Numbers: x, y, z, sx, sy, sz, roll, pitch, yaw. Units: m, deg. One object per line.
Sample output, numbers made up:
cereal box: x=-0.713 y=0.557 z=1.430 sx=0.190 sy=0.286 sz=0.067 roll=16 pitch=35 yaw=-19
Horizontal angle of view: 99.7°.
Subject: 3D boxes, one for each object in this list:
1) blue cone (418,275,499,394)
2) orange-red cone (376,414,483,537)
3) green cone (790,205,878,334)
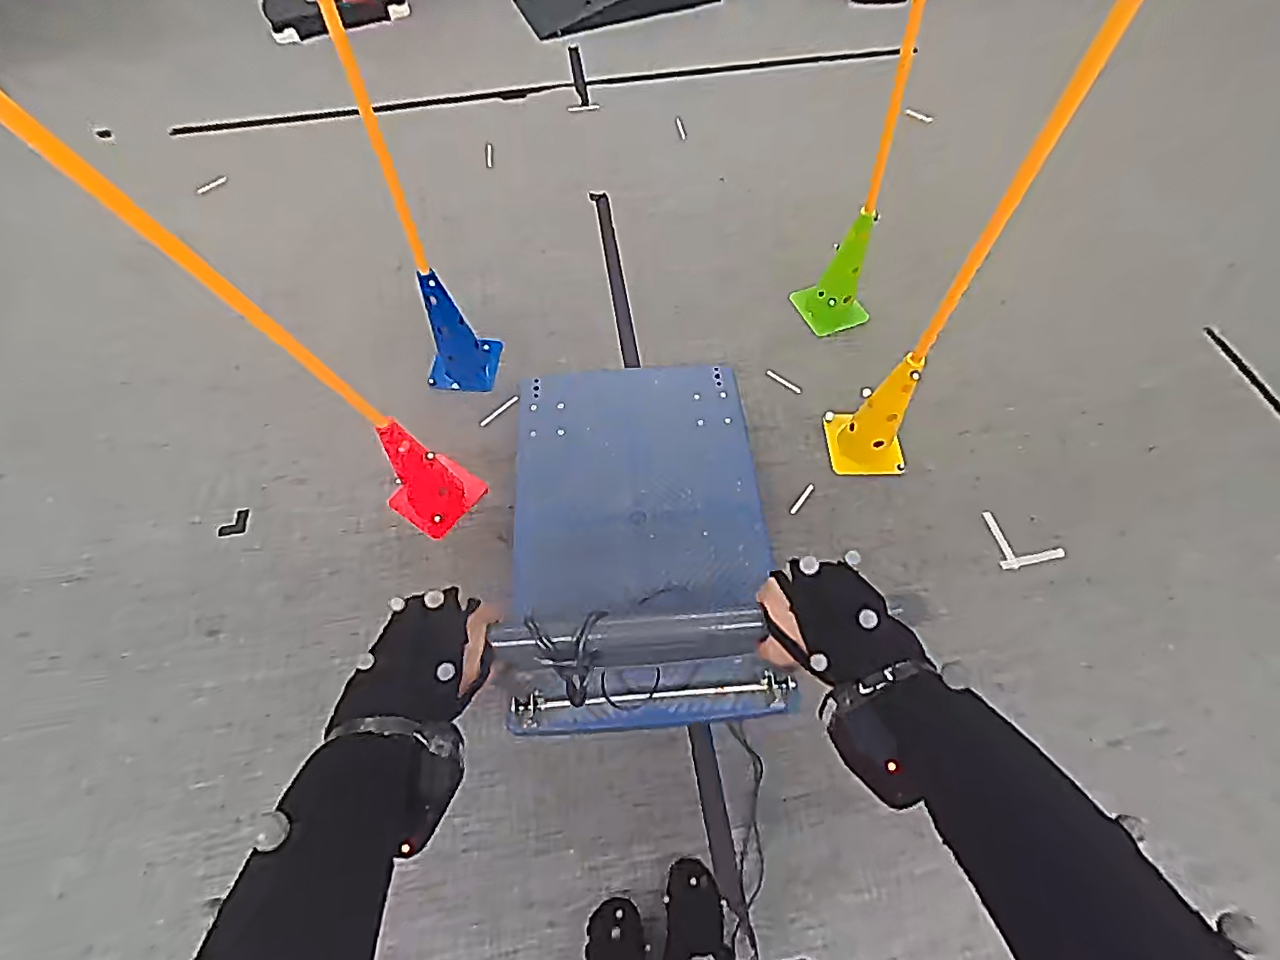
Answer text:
blue cone: x=-0.541 y=-0.427 z=1.530 sx=0.193 sy=0.380 sz=0.192 roll=5 pitch=63 yaw=3
orange-red cone: x=-0.548 y=-0.043 z=1.307 sx=0.198 sy=0.360 sz=0.199 roll=33 pitch=66 yaw=16
green cone: x=0.616 y=-0.649 z=1.614 sx=0.200 sy=0.368 sz=0.202 roll=-21 pitch=65 yaw=-10
